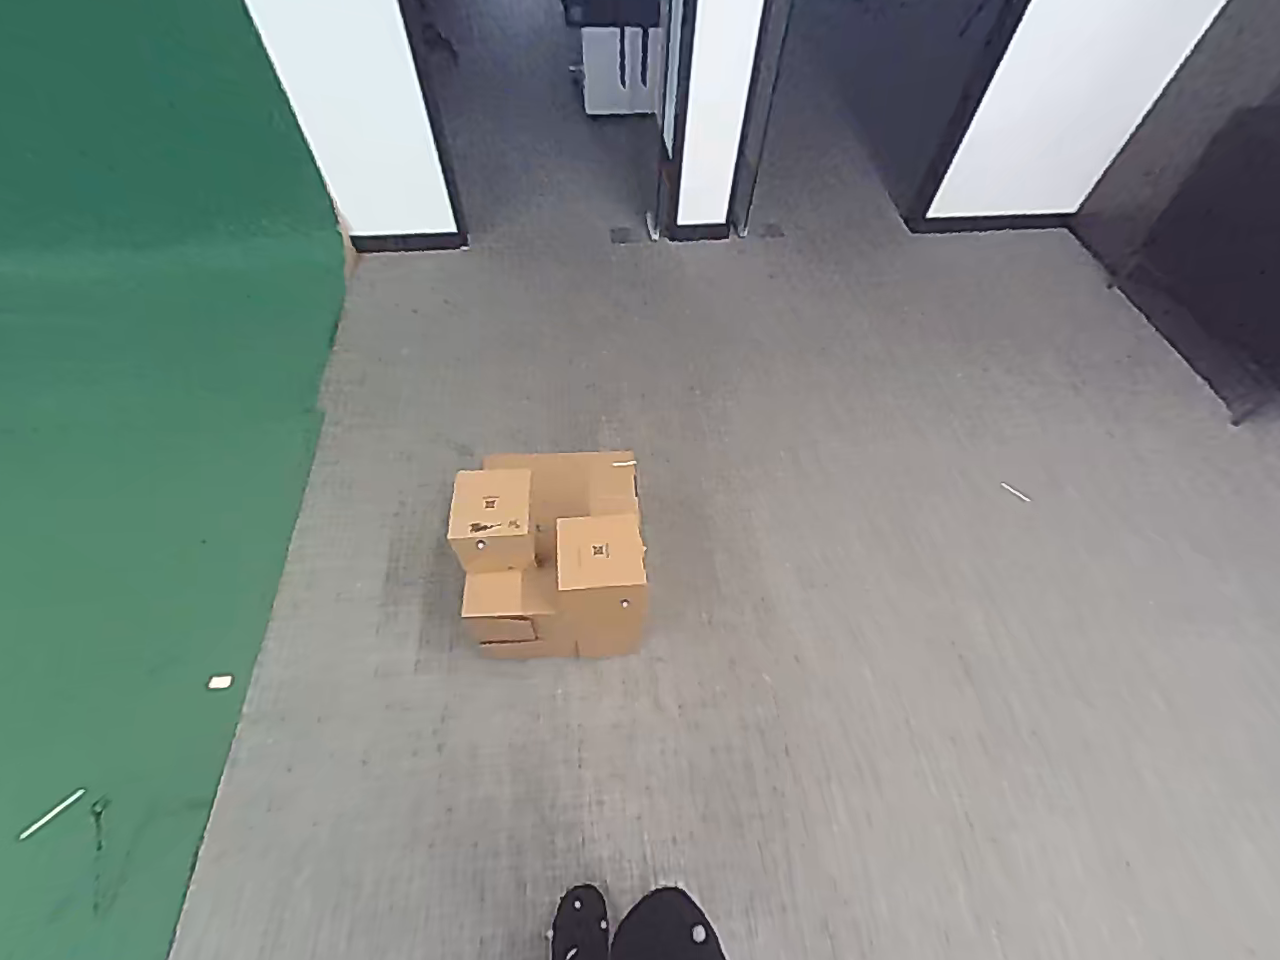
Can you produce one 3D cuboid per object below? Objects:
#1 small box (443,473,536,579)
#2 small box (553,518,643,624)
[{"bbox_3d":[-0.328,0.104,1.215,0.168,0.176,0.179,-2,54,-4],"label":"small box"},{"bbox_3d":[-0.092,0.197,1.160,0.179,0.176,0.168,-4,54,-6],"label":"small box"}]
